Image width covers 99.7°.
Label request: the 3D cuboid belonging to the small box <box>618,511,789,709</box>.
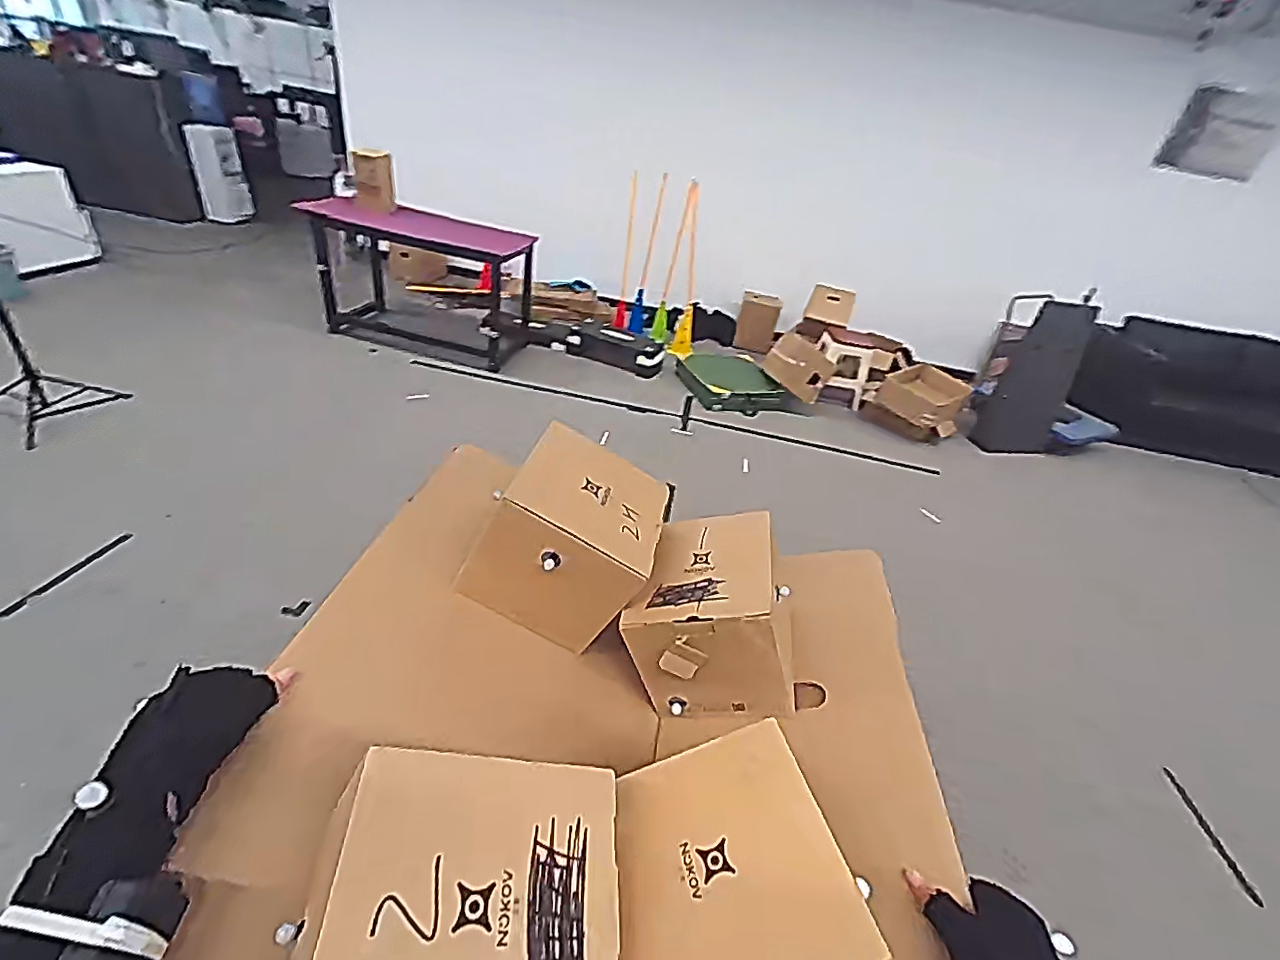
[{"bbox_3d":[0.090,0.165,0.675,0.168,0.176,0.179,-8,31,18],"label":"small box"}]
